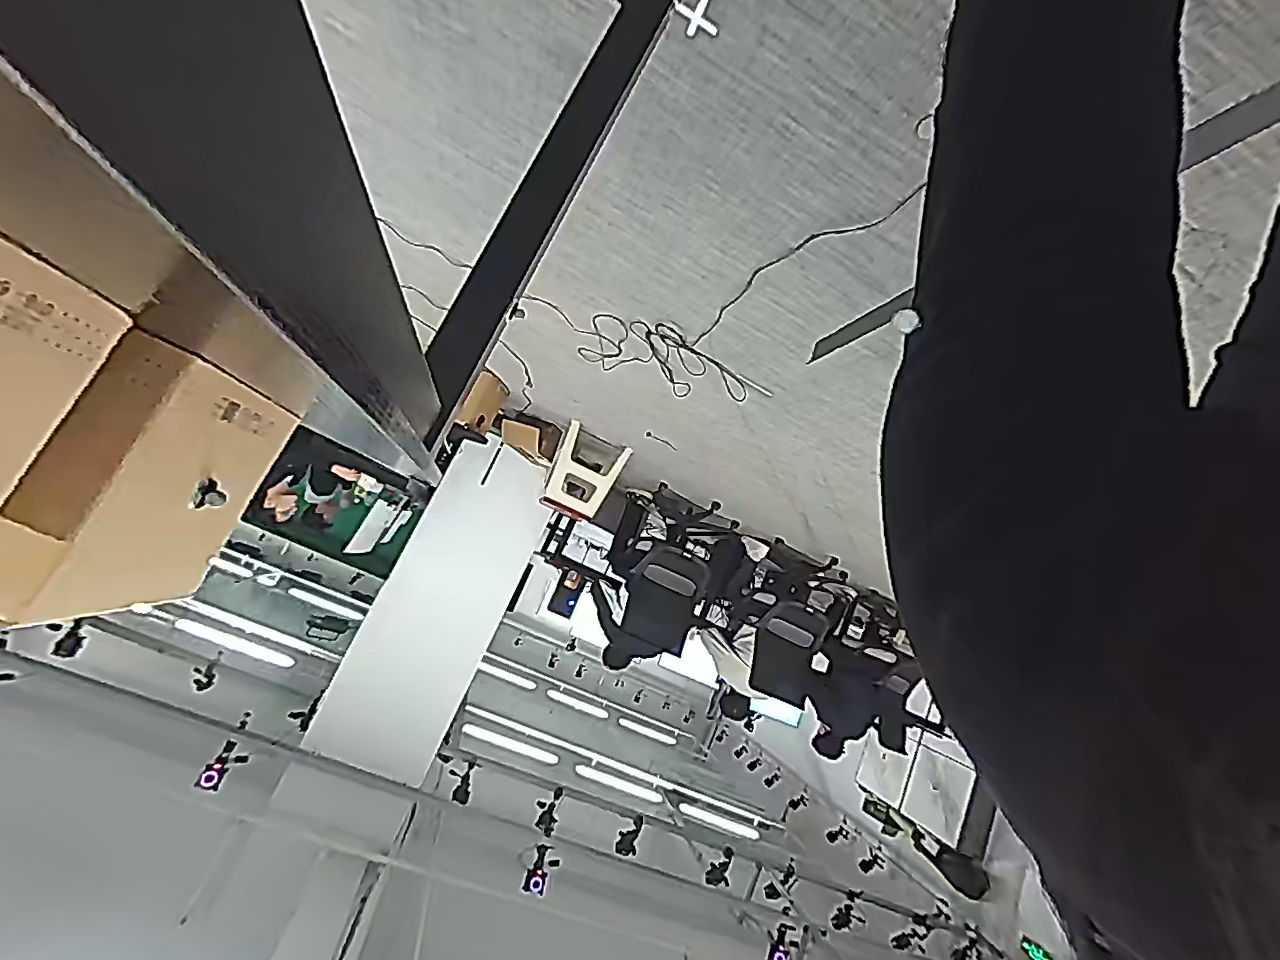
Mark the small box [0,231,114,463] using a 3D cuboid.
[{"bbox_3d":[-0.325,-0.051,0.146,0.179,0.176,0.168,26,169,-12],"label":"small box"}]
